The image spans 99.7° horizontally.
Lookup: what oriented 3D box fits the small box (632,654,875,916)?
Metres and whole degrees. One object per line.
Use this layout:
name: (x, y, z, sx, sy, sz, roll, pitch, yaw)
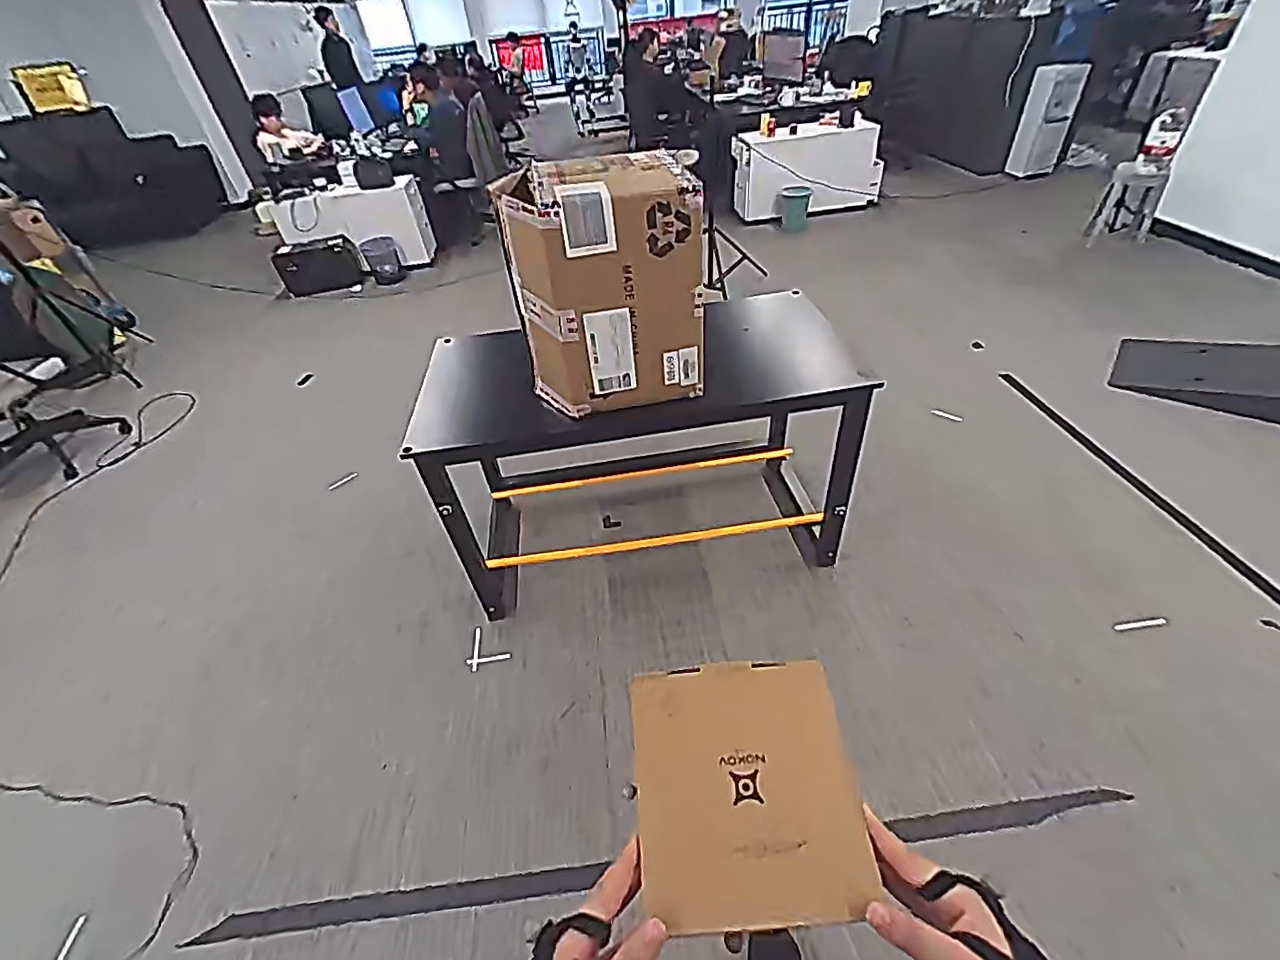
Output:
small box: (0.078, 0.274, 0.483, 0.168, 0.176, 0.179, -4, 52, 0)
